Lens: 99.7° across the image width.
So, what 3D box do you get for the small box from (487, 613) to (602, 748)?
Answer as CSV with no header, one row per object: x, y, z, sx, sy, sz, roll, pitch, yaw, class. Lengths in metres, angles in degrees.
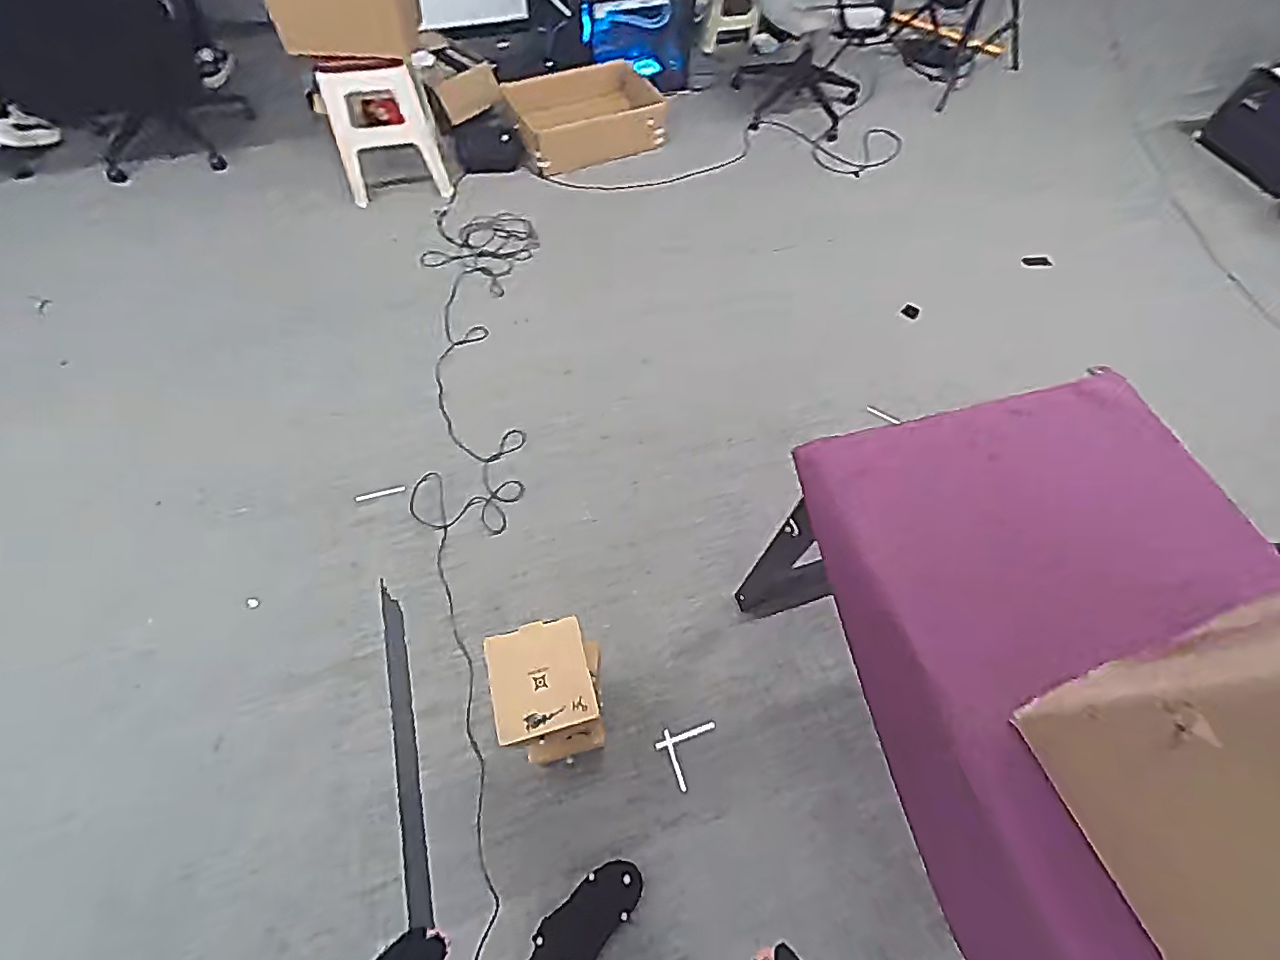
-0.167,0.360,0.965,0.168,0.176,0.179,-13,63,-10,small box

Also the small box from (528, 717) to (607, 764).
-0.176,0.535,1.241,0.168,0.176,0.179,-13,63,-10,small box

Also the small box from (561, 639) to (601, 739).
-0.170,0.430,1.114,0.168,0.176,0.179,5,60,-2,small box
